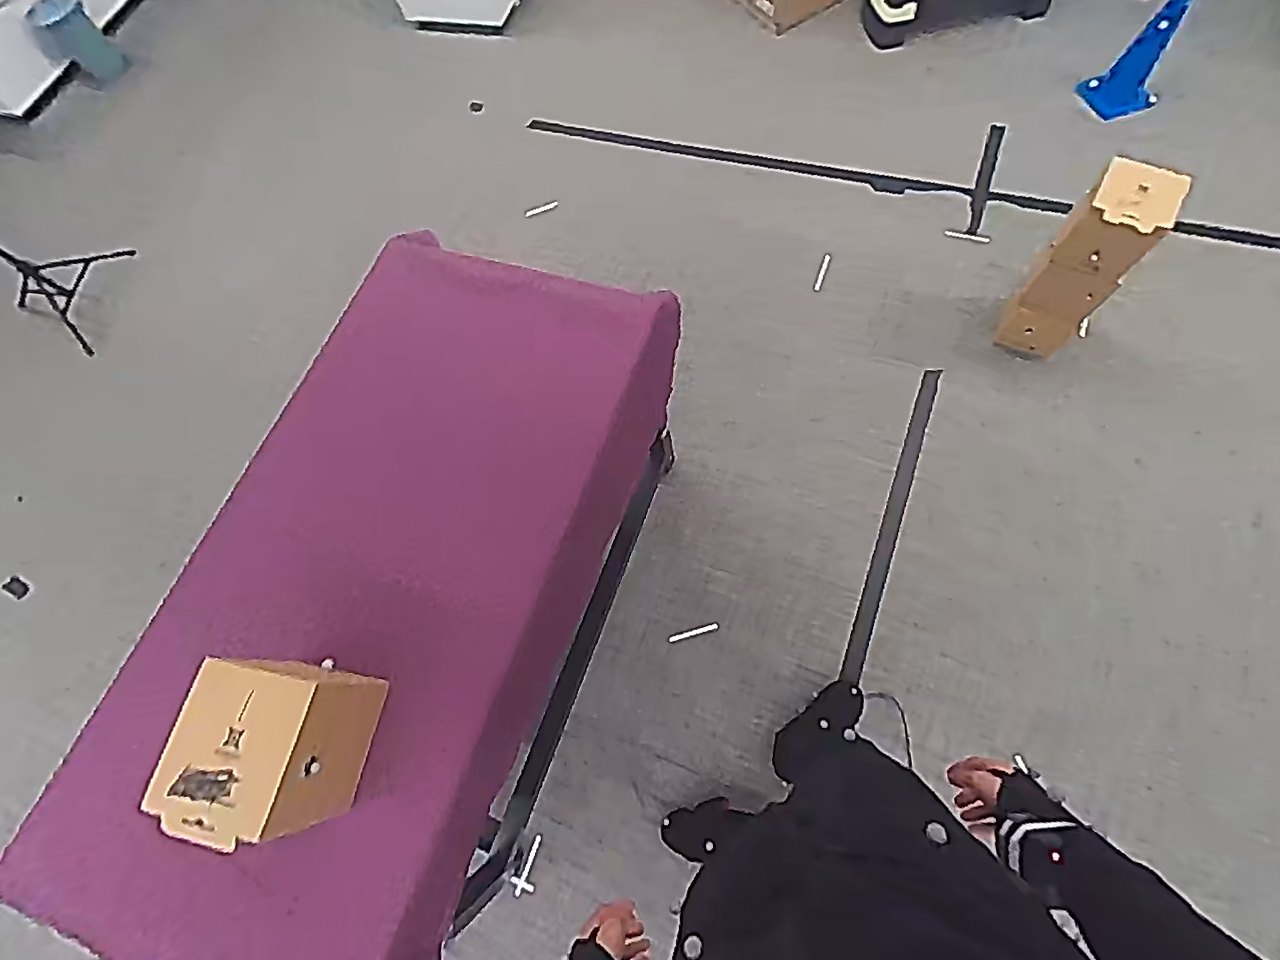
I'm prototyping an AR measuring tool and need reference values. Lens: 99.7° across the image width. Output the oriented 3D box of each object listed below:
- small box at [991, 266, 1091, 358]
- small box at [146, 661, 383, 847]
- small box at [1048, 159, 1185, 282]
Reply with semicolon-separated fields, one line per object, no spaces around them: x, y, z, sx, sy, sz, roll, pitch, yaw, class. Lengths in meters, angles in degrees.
1.180;-0.492;1.604;0.168;0.176;0.179;22;74;14;small box
-0.479;0.350;0.723;0.168;0.176;0.179;8;70;10;small box
1.135;-0.621;1.303;0.168;0.176;0.179;29;76;16;small box
